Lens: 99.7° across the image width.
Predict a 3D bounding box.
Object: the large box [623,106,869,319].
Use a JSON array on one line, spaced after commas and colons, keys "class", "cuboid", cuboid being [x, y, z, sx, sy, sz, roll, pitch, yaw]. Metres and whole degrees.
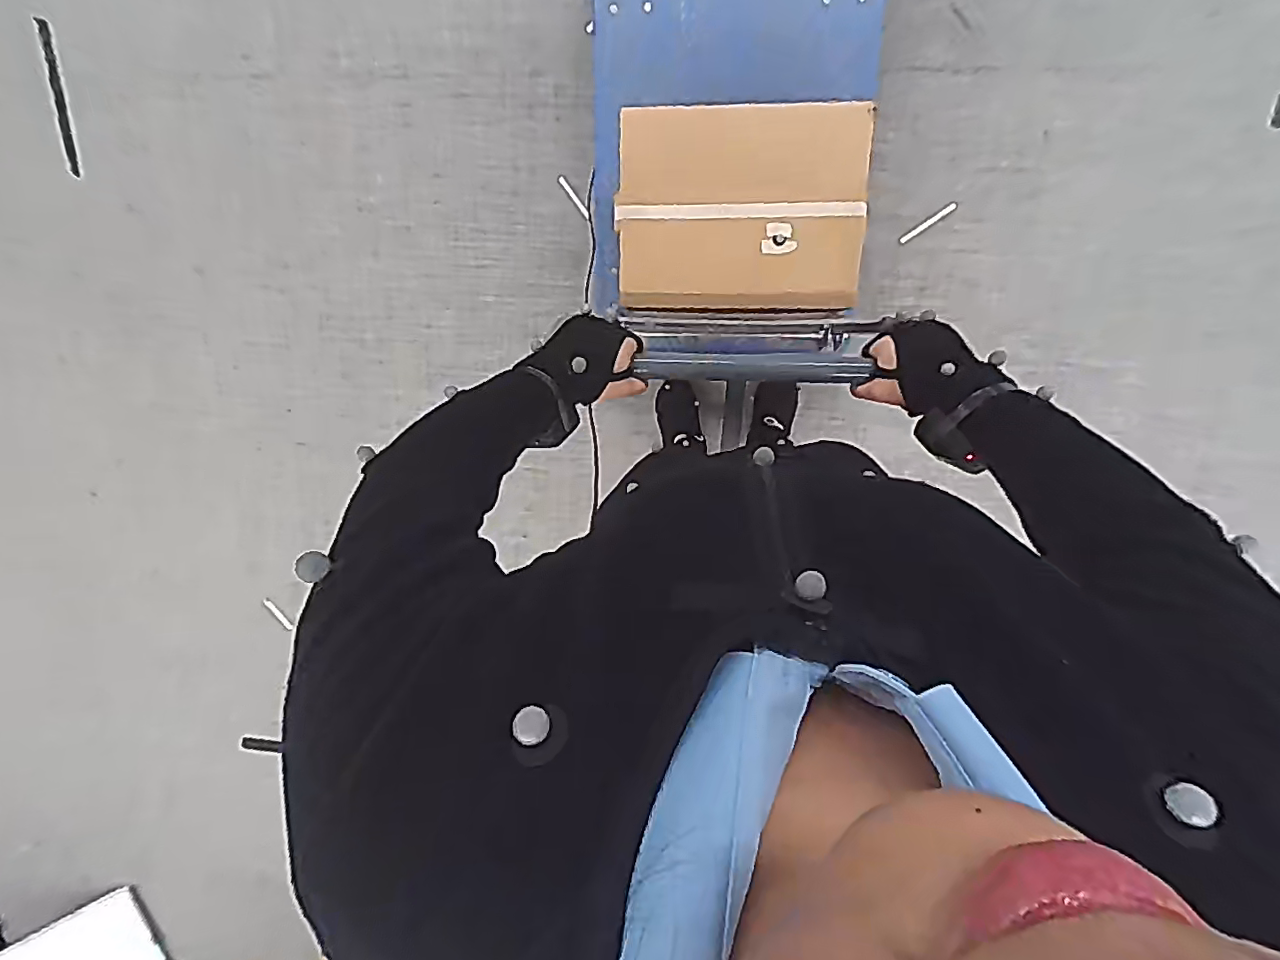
[{"class": "large box", "cuboid": [0.181, -0.486, 1.058, 0.408, 0.320, 0.320, 1, 105, 4]}]
